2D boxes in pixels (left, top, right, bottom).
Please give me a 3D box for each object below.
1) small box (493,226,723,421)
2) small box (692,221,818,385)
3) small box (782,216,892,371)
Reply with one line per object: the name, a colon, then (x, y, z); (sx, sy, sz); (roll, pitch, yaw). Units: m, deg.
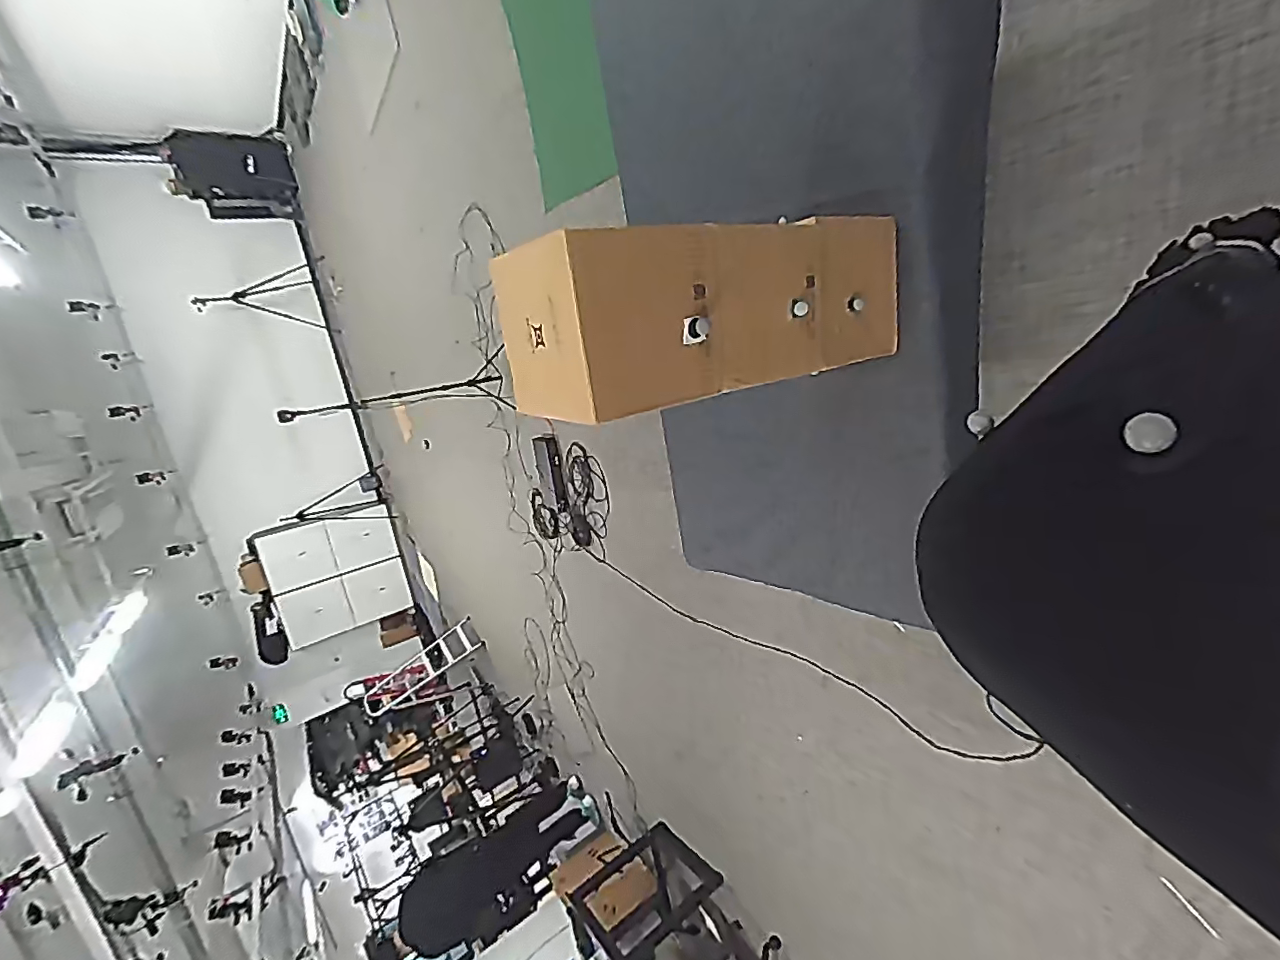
small box: (-0.034, -0.167, 0.582); (0.179, 0.176, 0.168); (15, 119, 53)
small box: (0.095, -0.212, 0.669); (0.179, 0.176, 0.168); (14, 117, 56)
small box: (0.230, -0.254, 0.752); (0.168, 0.176, 0.179); (14, 117, 54)
